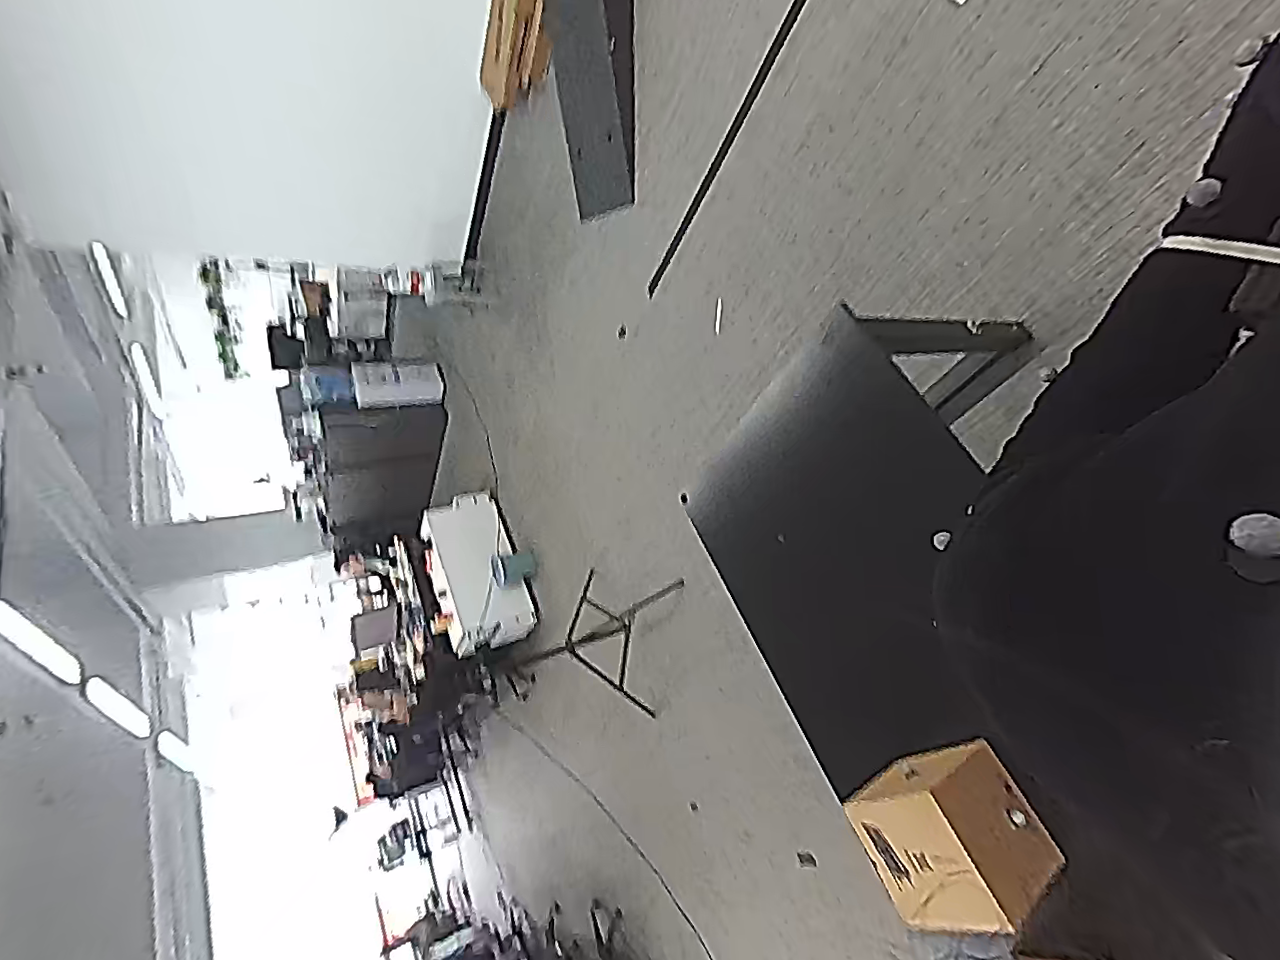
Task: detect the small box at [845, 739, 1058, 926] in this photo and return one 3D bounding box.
[{"bbox_3d":[0.450,0.507,0.789,0.168,0.176,0.179,62,142,24],"label":"small box"}]

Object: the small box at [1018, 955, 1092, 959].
[{"bbox_3d":[0.567,0.746,0.683,0.168,0.176,0.179,63,144,26],"label":"small box"}]
